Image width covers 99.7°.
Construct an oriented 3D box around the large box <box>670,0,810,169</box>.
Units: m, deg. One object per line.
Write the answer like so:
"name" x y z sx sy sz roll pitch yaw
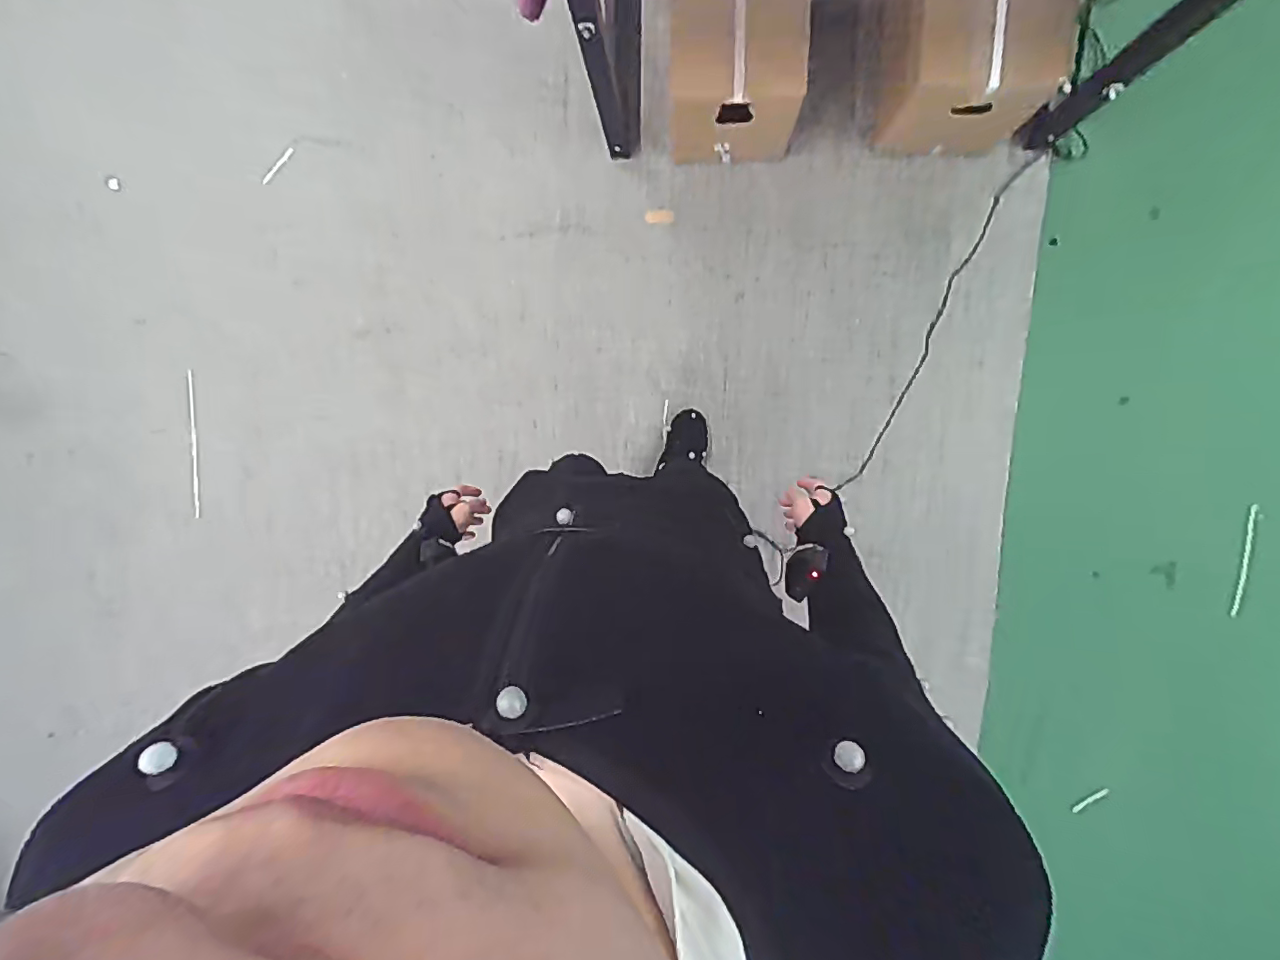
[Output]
"large box" 0.238 -1.068 1.362 0.320 0.320 0.408 1 94 4
